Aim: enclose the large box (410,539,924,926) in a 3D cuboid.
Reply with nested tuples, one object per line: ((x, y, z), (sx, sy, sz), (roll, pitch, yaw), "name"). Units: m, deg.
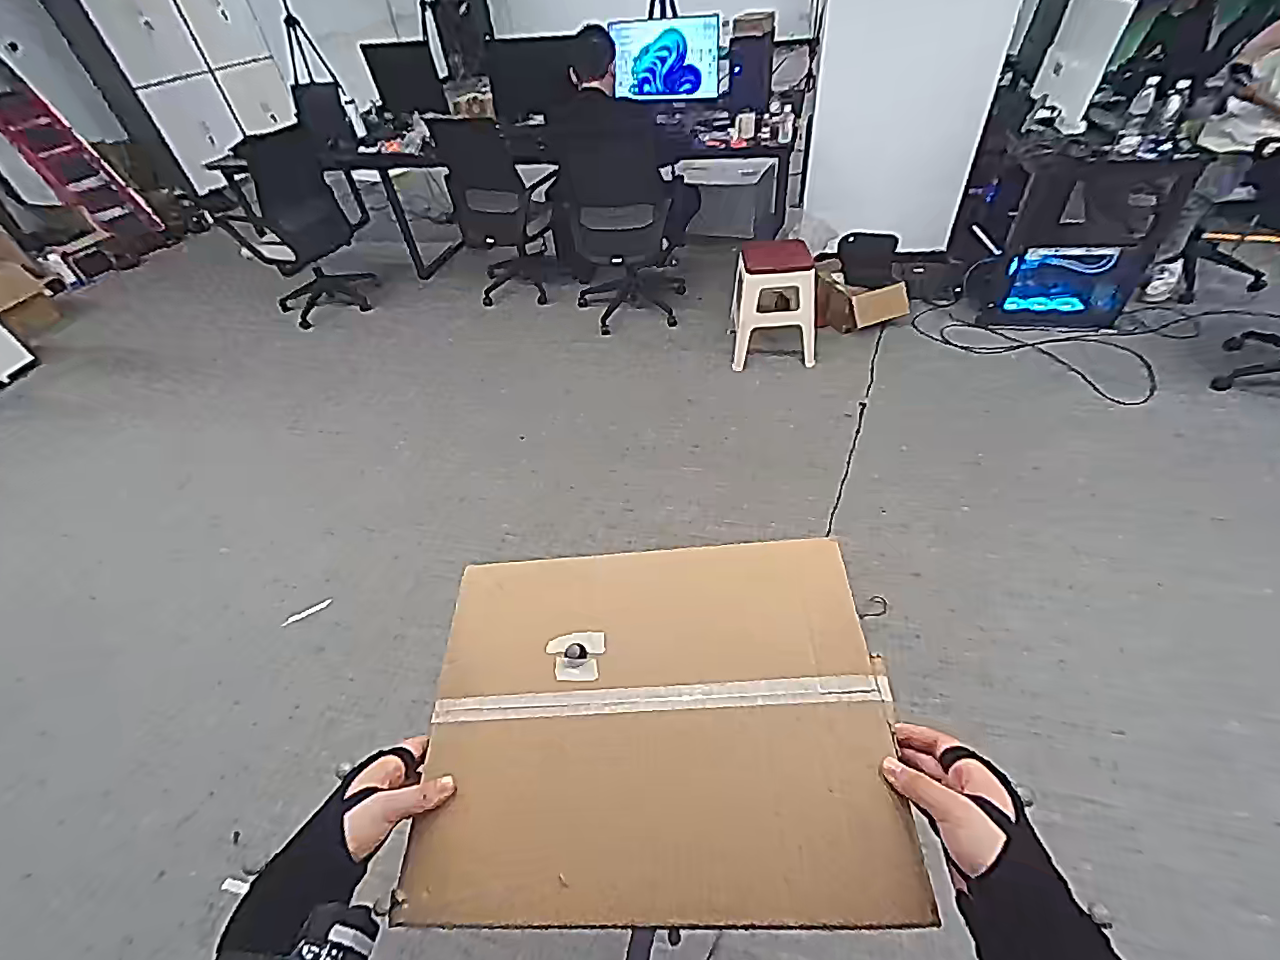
((0.033, 0.296, 0.614), (0.408, 0.320, 0.320), (-7, 50, 8), "large box")
